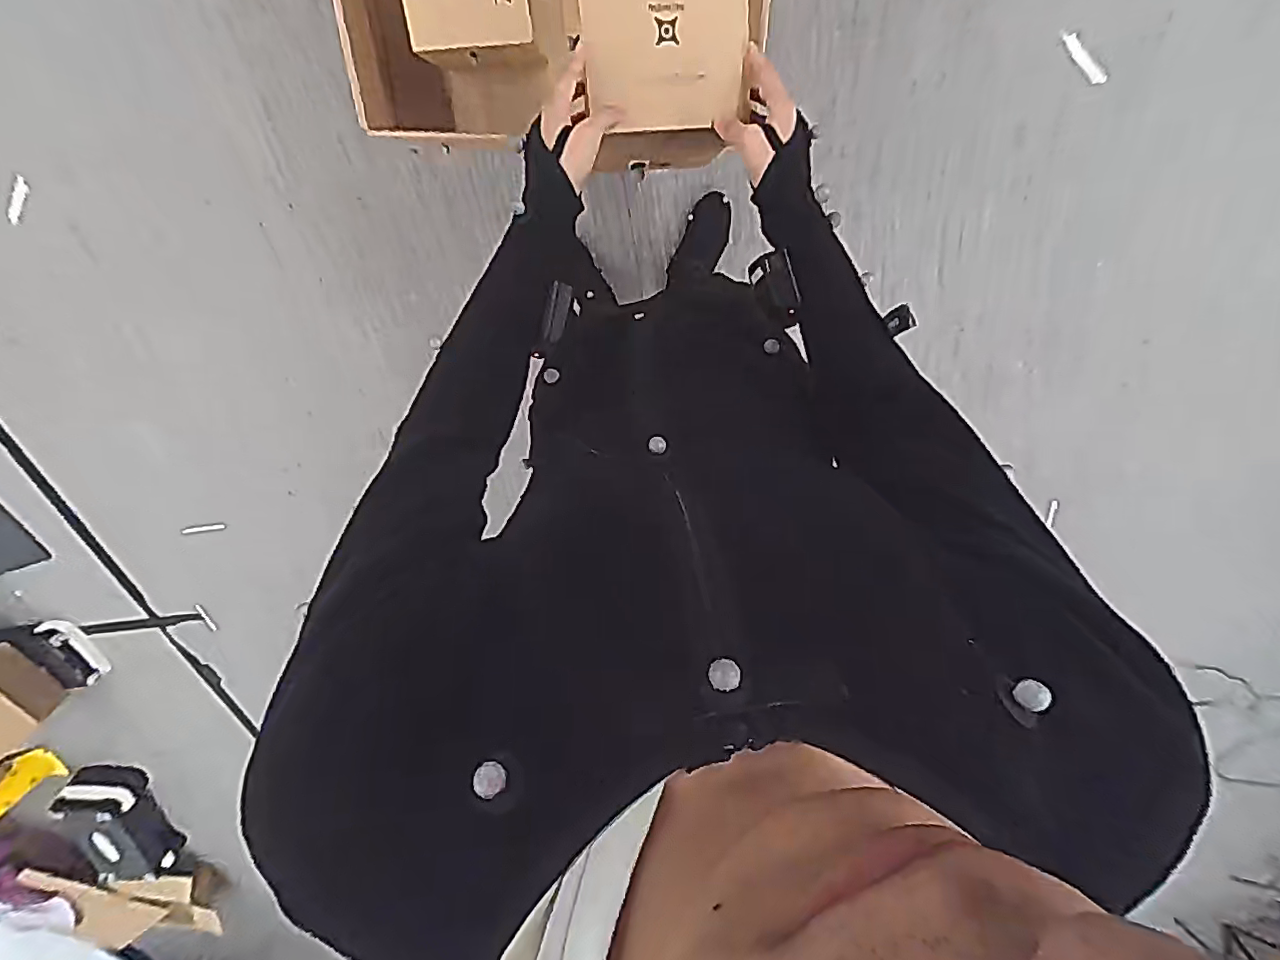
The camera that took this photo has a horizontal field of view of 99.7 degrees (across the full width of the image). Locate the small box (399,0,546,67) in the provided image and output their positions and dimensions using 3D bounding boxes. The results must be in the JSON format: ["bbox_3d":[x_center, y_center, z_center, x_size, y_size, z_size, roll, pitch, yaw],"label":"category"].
[{"bbox_3d":[-0.244,-0.719,0.788,0.179,0.176,0.168,-3,120,1],"label":"small box"}]

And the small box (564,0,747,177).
[{"bbox_3d":[0.009,-0.454,0.593,0.168,0.176,0.179,-8,107,-7],"label":"small box"}]
